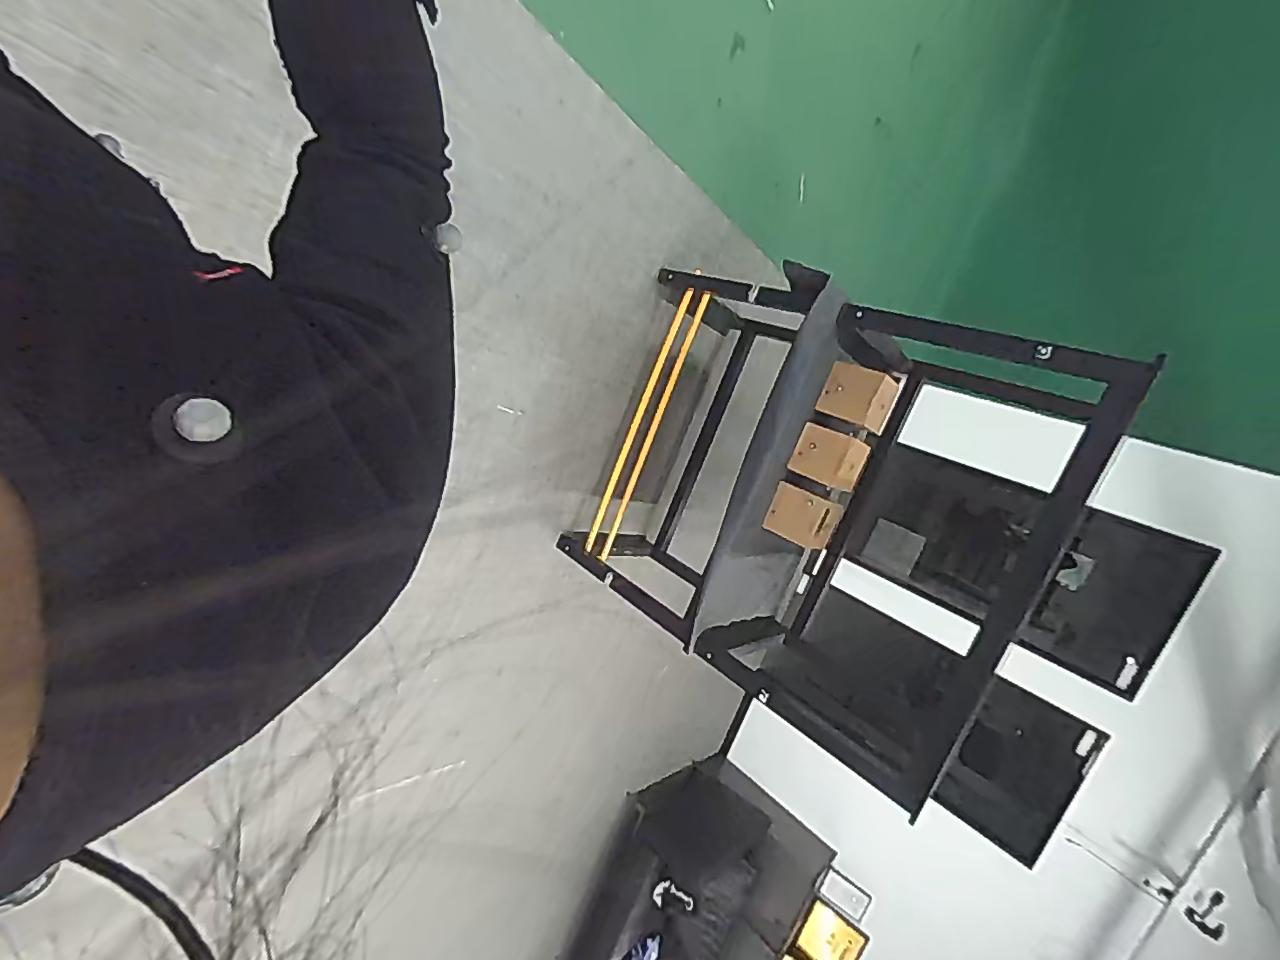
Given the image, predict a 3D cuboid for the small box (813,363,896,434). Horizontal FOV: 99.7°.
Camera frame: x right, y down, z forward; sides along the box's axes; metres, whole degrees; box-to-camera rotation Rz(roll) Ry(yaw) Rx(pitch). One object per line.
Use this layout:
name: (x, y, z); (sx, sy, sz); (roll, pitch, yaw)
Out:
small box: (0.686, -0.264, 1.738); (0.179, 0.176, 0.168); (10, 105, -51)
